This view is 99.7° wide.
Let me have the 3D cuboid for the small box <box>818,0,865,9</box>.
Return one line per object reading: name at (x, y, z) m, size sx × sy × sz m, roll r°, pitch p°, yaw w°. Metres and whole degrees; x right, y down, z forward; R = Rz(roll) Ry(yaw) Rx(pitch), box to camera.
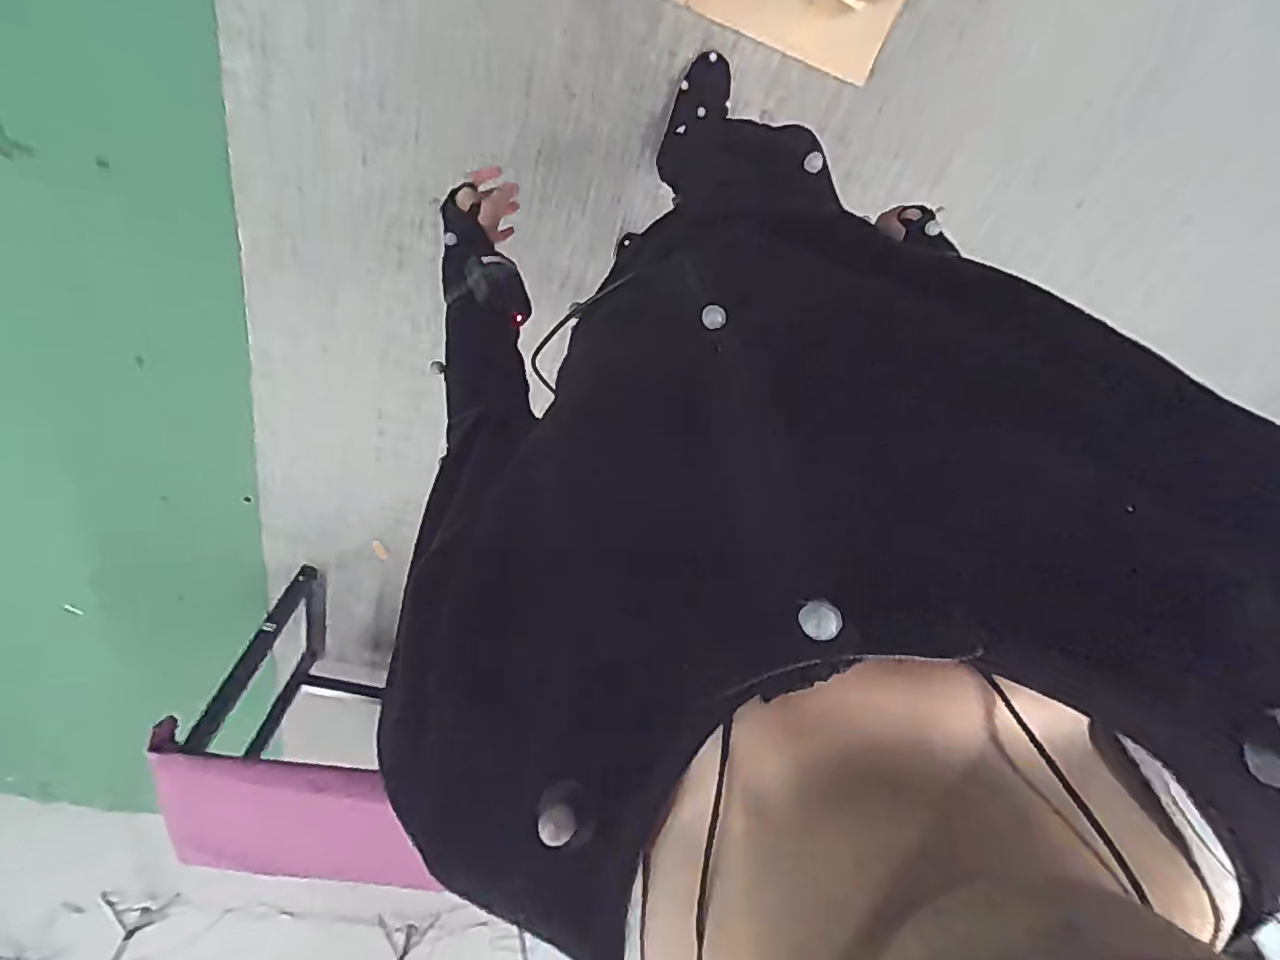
small box at (0.348, -0.959, 0.932) m, size 0.168 × 0.176 × 0.179 m, roll 18°, pitch 123°, yaw -15°
